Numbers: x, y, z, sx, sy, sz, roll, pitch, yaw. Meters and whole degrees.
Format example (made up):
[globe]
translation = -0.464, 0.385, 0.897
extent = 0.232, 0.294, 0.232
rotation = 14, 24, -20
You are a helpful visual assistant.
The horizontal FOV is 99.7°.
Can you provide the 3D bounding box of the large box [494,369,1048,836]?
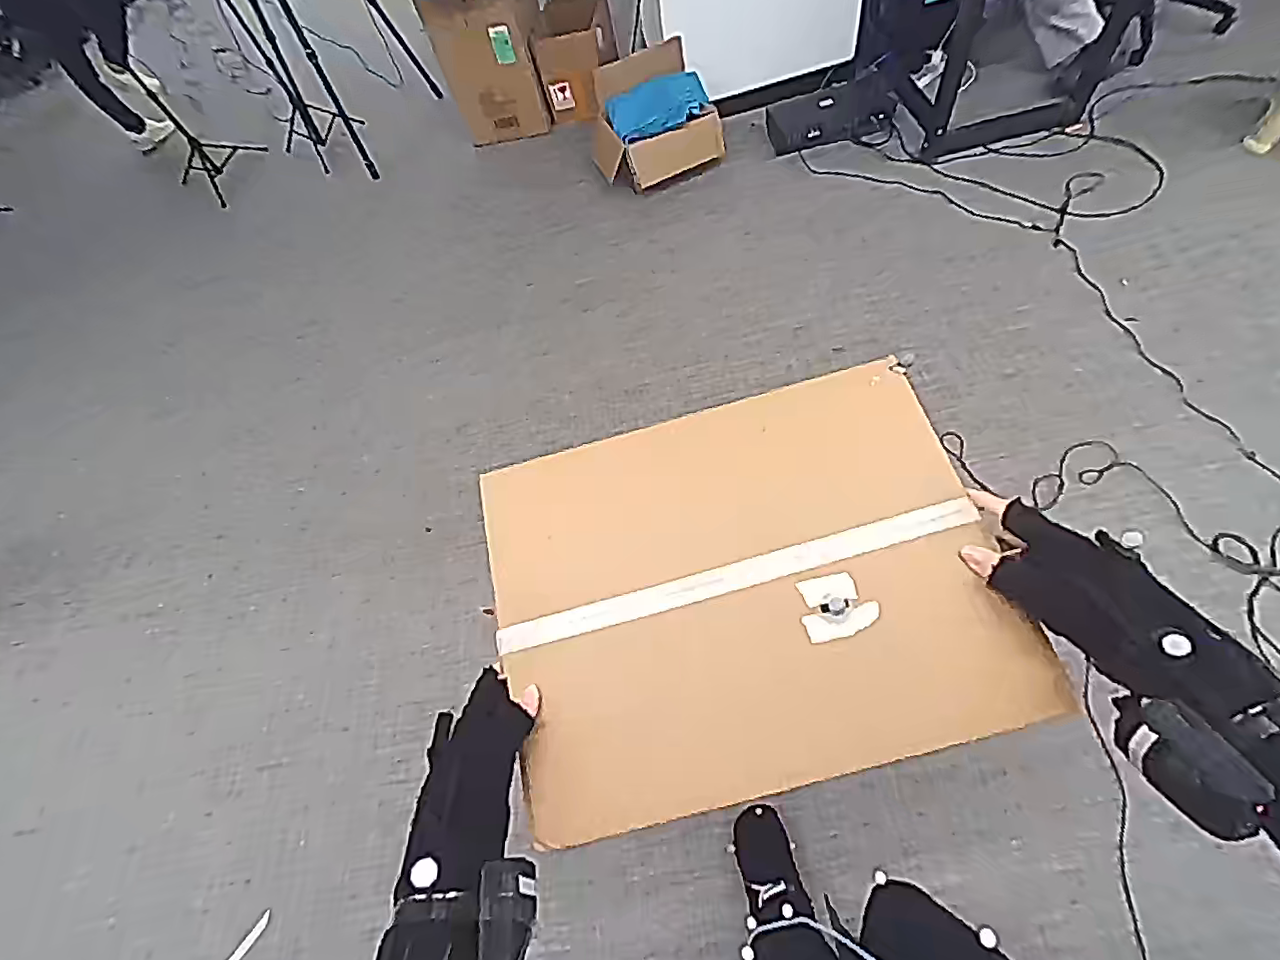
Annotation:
[large box]
translation = 0.101, 0.139, 0.604
extent = 0.408, 0.320, 0.320
rotation = -16, 67, 1
